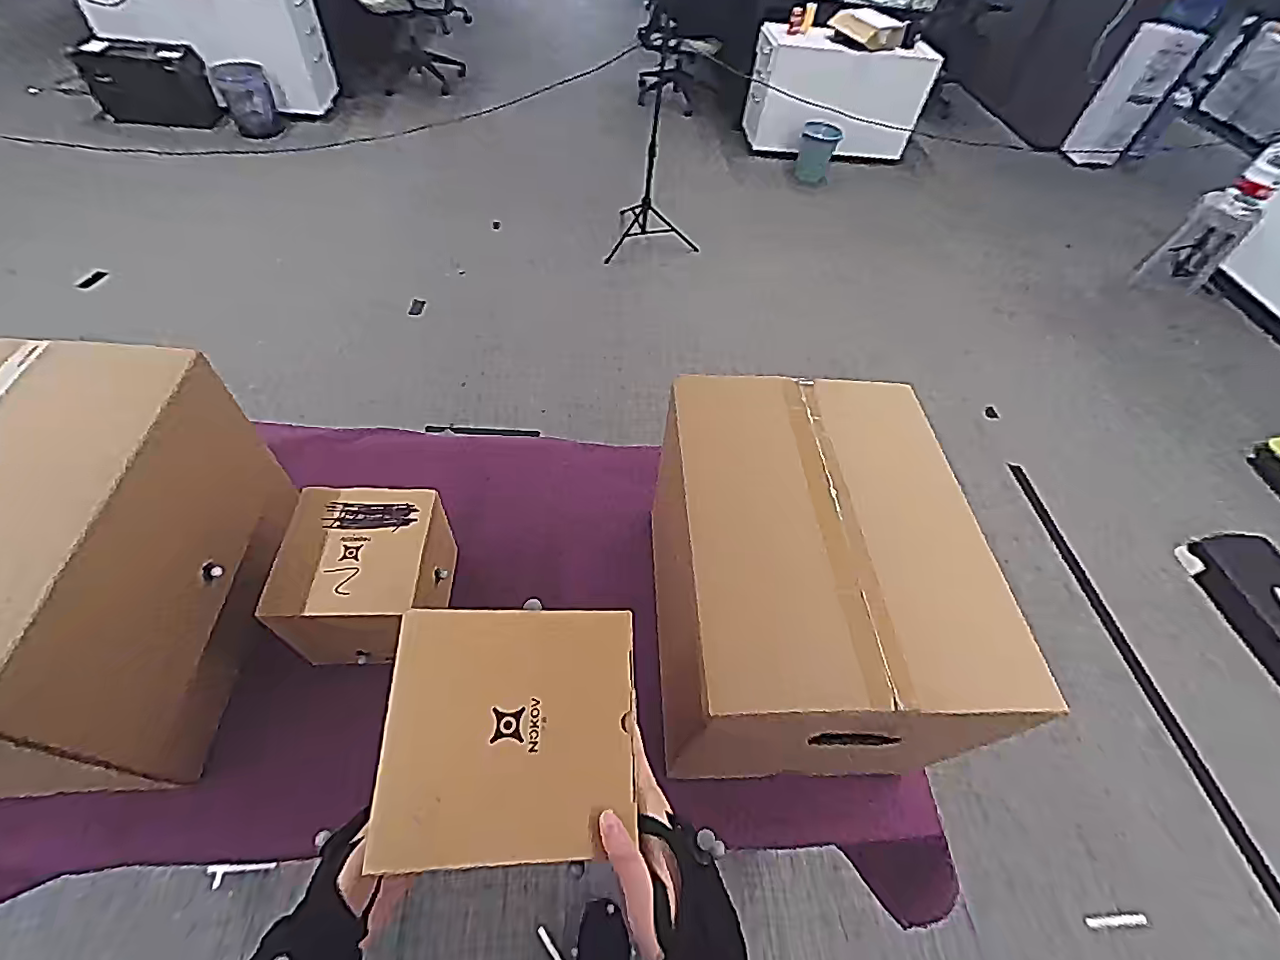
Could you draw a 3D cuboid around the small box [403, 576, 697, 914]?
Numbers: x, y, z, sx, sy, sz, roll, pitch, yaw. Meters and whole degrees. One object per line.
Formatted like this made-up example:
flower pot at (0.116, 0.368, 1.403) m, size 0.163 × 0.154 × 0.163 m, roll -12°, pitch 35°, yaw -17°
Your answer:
small box at (-0.076, 0.199, 0.421) m, size 0.168 × 0.176 × 0.179 m, roll 13°, pitch 40°, yaw -27°
